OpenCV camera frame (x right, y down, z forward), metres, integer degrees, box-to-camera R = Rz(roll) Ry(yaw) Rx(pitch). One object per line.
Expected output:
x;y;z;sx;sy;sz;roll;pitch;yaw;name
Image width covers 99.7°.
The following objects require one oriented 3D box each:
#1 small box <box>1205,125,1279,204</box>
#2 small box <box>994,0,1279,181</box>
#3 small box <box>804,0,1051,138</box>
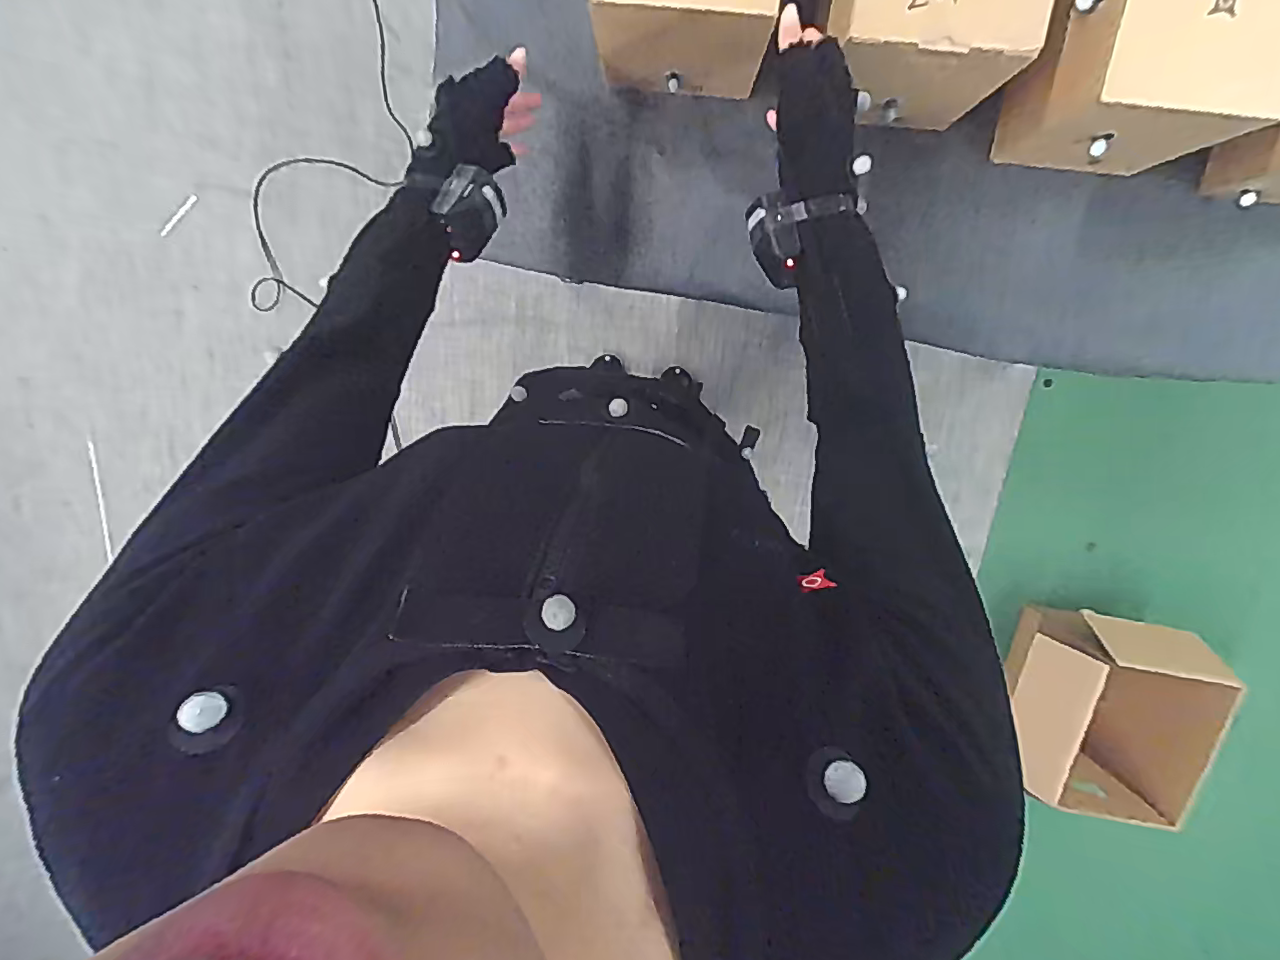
0.725;-0.377;0.524;0.168;0.176;0.179;6;103;1;small box
0.487;-0.413;0.527;0.168;0.176;0.179;6;103;1;small box
0.269;-0.465;0.522;0.168;0.176;0.179;6;103;2;small box
